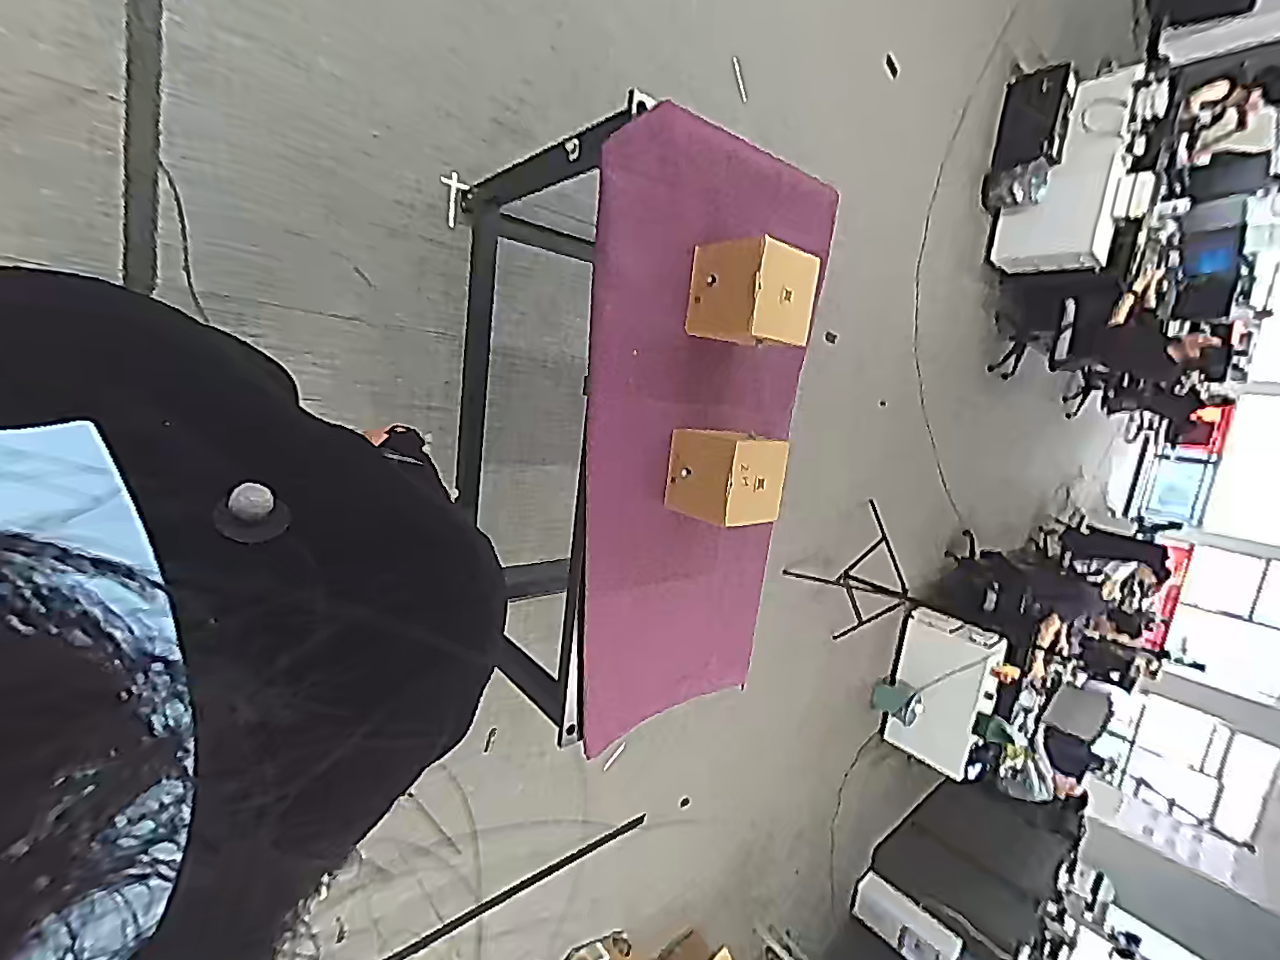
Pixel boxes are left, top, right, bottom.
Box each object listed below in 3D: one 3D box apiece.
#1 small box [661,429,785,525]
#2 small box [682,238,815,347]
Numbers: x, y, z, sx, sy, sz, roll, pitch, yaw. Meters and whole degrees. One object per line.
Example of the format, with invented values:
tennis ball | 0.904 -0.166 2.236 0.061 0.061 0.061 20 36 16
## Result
small box | 0.168 -0.012 1.114 0.179 0.176 0.168 -2 102 -41
small box | 0.209 -0.358 1.052 0.179 0.176 0.168 -3 105 -40
